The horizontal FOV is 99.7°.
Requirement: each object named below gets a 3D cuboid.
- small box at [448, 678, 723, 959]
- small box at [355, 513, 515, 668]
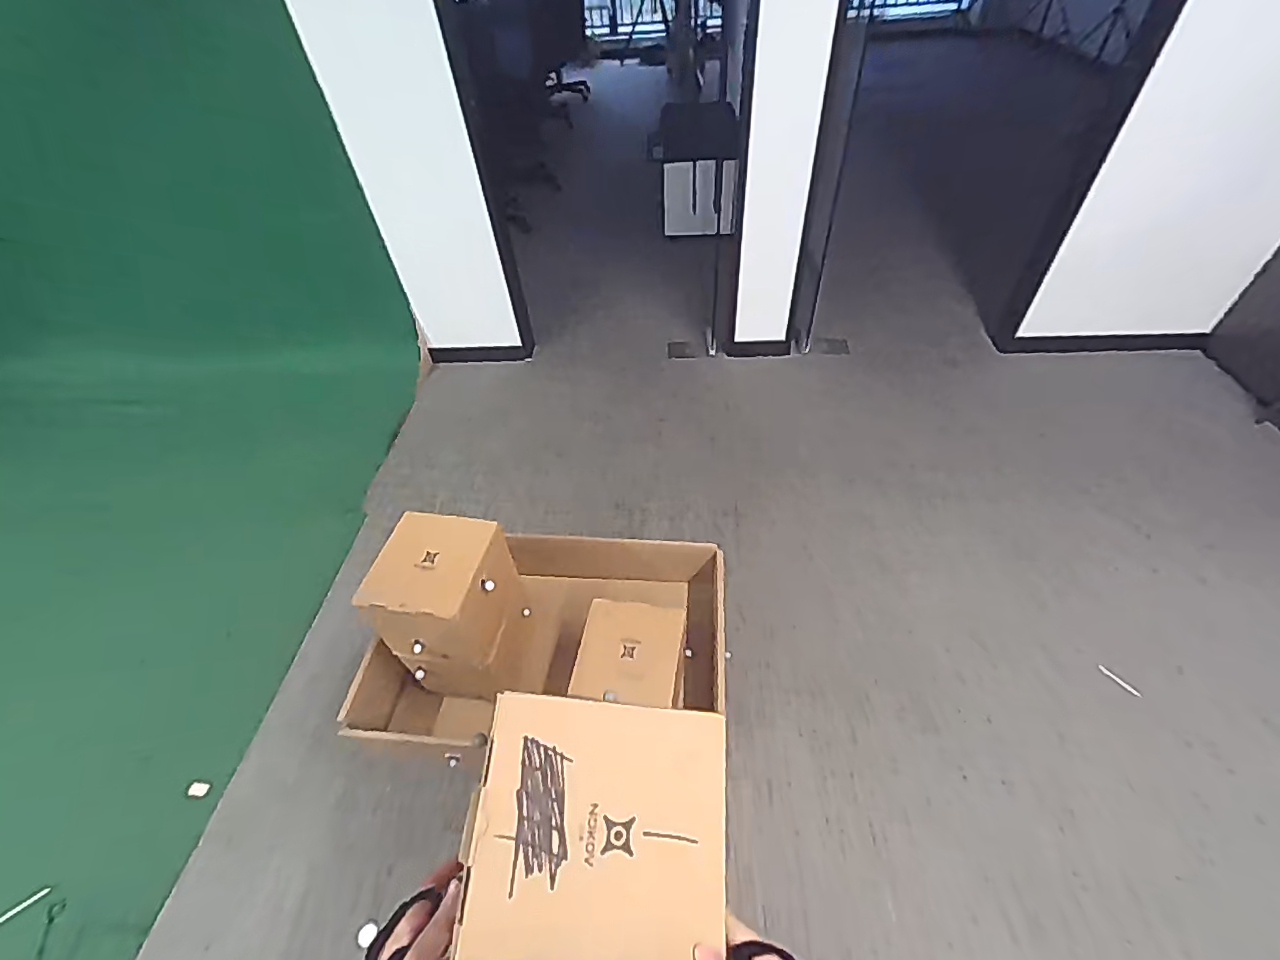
[{"bbox_3d":[-0.045,0.267,0.442,0.179,0.176,0.168,11,62,-11],"label":"small box"},{"bbox_3d":[-0.317,0.180,0.884,0.168,0.176,0.179,6,48,10],"label":"small box"}]
